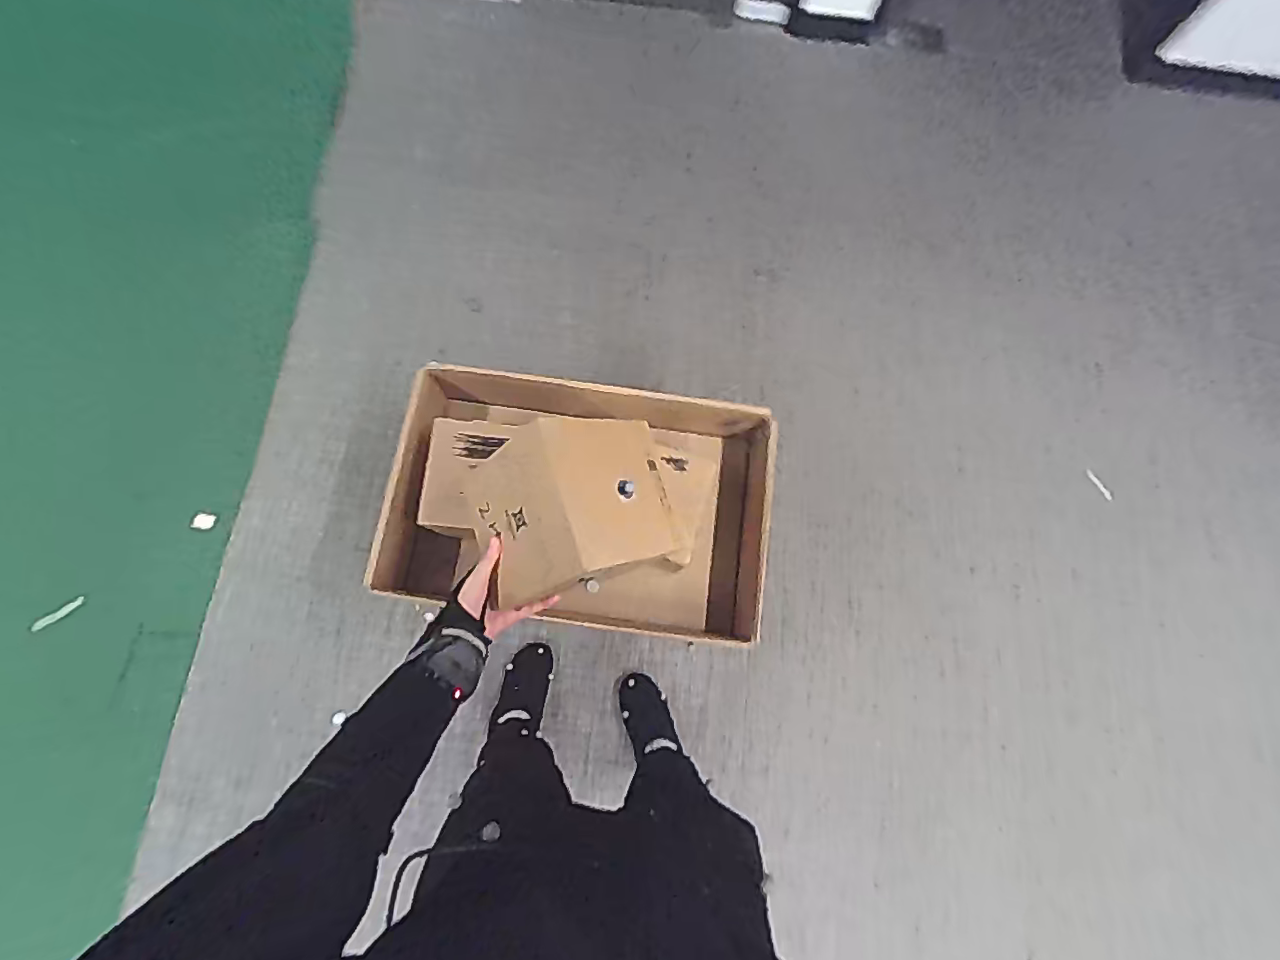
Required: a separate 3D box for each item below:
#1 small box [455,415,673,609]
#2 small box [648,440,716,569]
[{"bbox_3d":[-0.082,0.034,0.628,0.176,0.179,0.168,-5,71,-47],"label":"small box"},{"bbox_3d":[0.017,0.045,0.920,0.168,0.176,0.179,18,77,2],"label":"small box"}]
